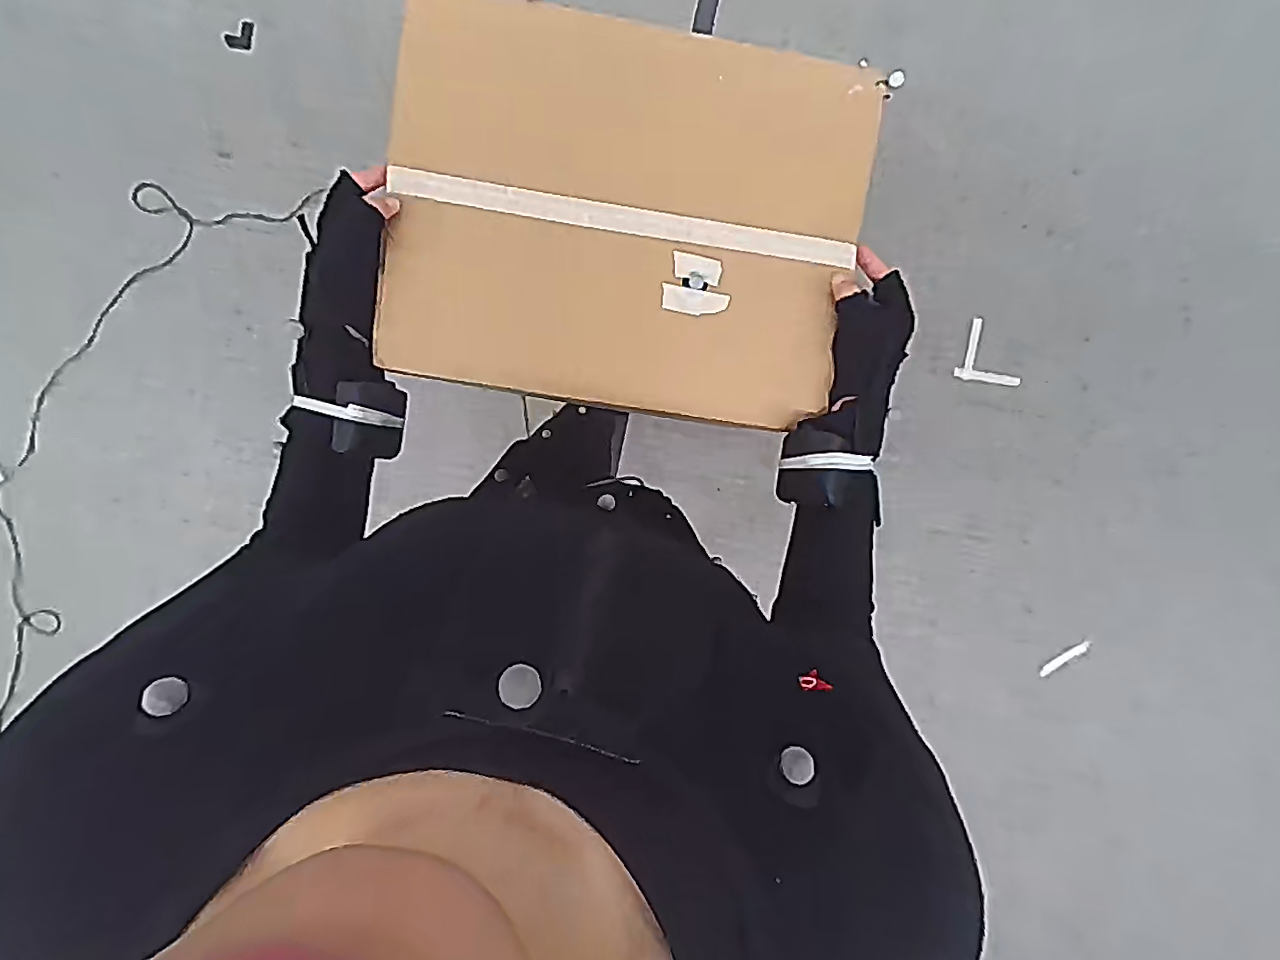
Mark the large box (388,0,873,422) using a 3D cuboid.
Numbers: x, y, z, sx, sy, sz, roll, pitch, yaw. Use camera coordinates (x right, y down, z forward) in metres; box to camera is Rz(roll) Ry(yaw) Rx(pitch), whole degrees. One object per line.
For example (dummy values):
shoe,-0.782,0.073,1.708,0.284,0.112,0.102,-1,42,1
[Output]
large box,-0.020,-0.247,0.624,0.408,0.320,0.320,8,98,-4
